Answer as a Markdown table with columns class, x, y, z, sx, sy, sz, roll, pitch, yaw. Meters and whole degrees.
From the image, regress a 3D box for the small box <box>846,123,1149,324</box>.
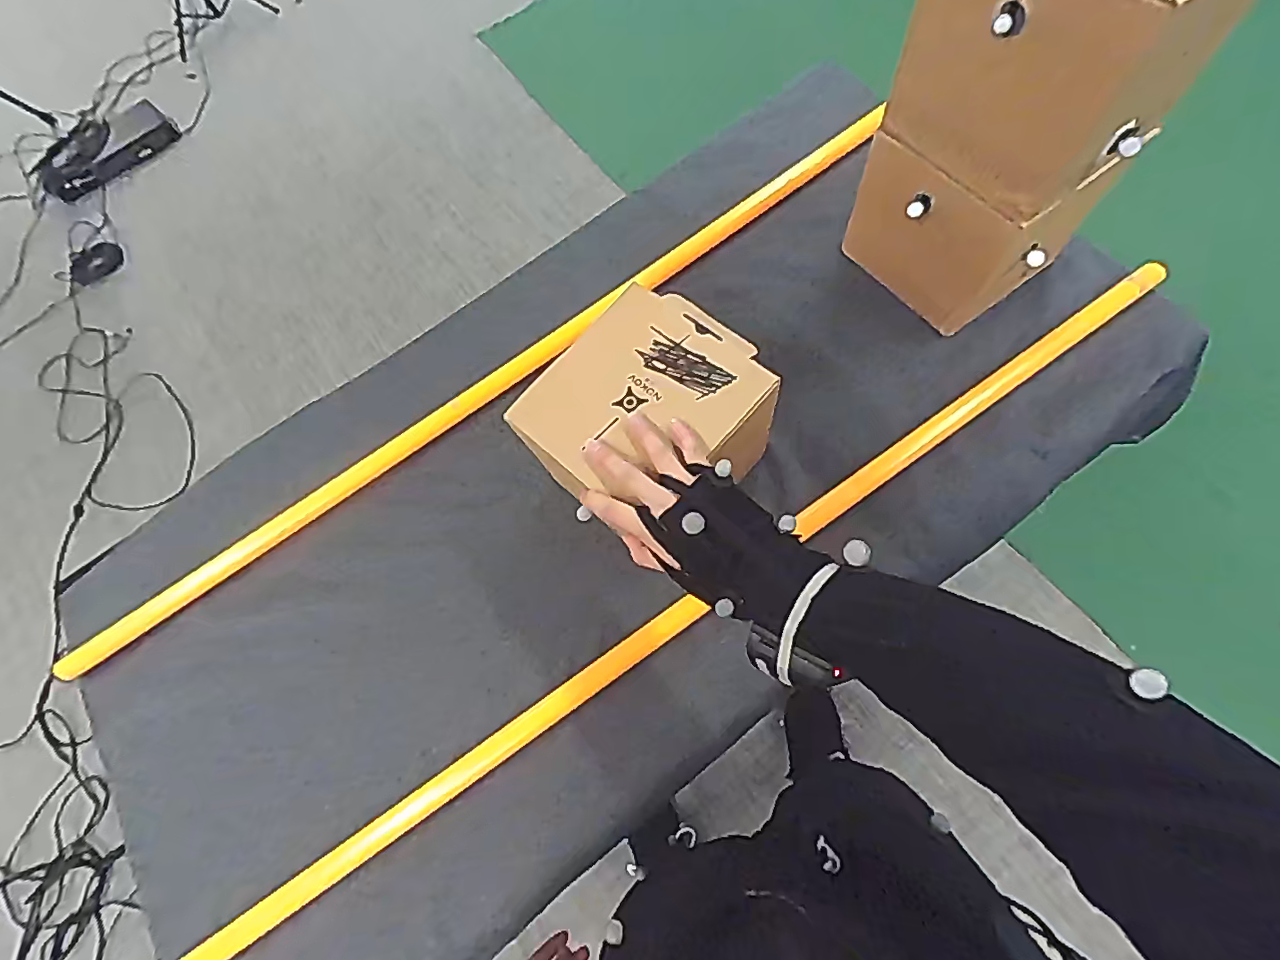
| class | x | y | z | sx | sy | sz | roll | pitch | yaw |
| --- | --- | --- | --- | --- | --- | --- | --- | --- | --- |
| small box | 0.353 | -0.295 | 0.578 | 0.168 | 0.176 | 0.179 | -36 | 68 | -5 |

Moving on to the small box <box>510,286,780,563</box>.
| class | x | y | z | sx | sy | sz | roll | pitch | yaw |
| --- | --- | --- | --- | --- | --- | --- | --- | --- | --- |
| small box | 0.010 | -0.043 | 0.533 | 0.168 | 0.176 | 0.179 | 40 | 81 | 19 |

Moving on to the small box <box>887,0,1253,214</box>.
| class | x | y | z | sx | sy | sz | roll | pitch | yaw |
| --- | --- | --- | --- | --- | --- | --- | --- | --- | --- |
| small box | 0.332 | -0.356 | 0.429 | 0.168 | 0.176 | 0.179 | -38 | 69 | -5 |
